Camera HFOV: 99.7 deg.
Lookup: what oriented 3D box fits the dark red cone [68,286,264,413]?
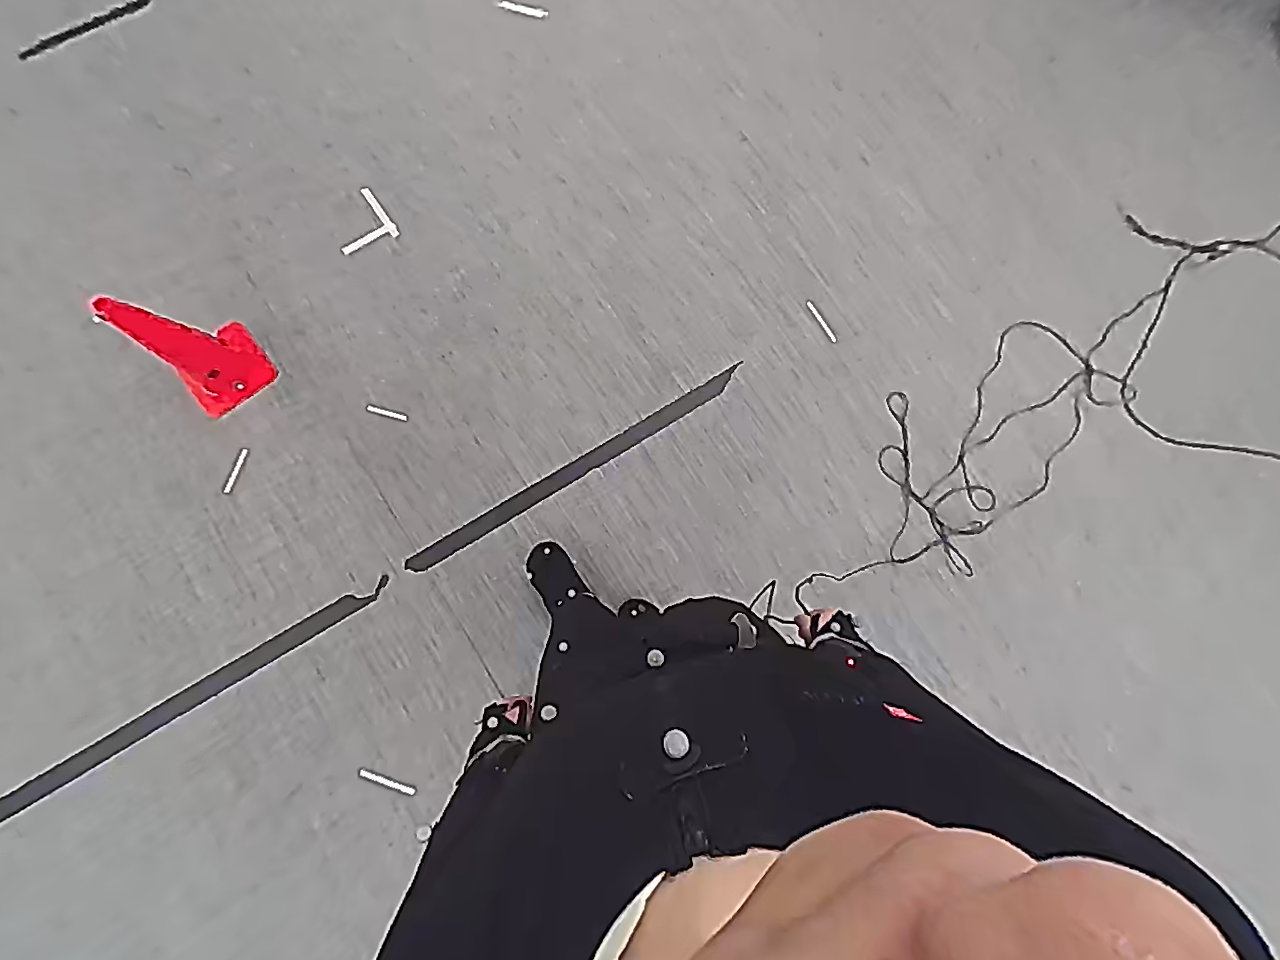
[{"bbox_3d":[-1.066,-0.314,1.198,0.202,0.394,0.201,-39,86,-9],"label":"dark red cone"}]
